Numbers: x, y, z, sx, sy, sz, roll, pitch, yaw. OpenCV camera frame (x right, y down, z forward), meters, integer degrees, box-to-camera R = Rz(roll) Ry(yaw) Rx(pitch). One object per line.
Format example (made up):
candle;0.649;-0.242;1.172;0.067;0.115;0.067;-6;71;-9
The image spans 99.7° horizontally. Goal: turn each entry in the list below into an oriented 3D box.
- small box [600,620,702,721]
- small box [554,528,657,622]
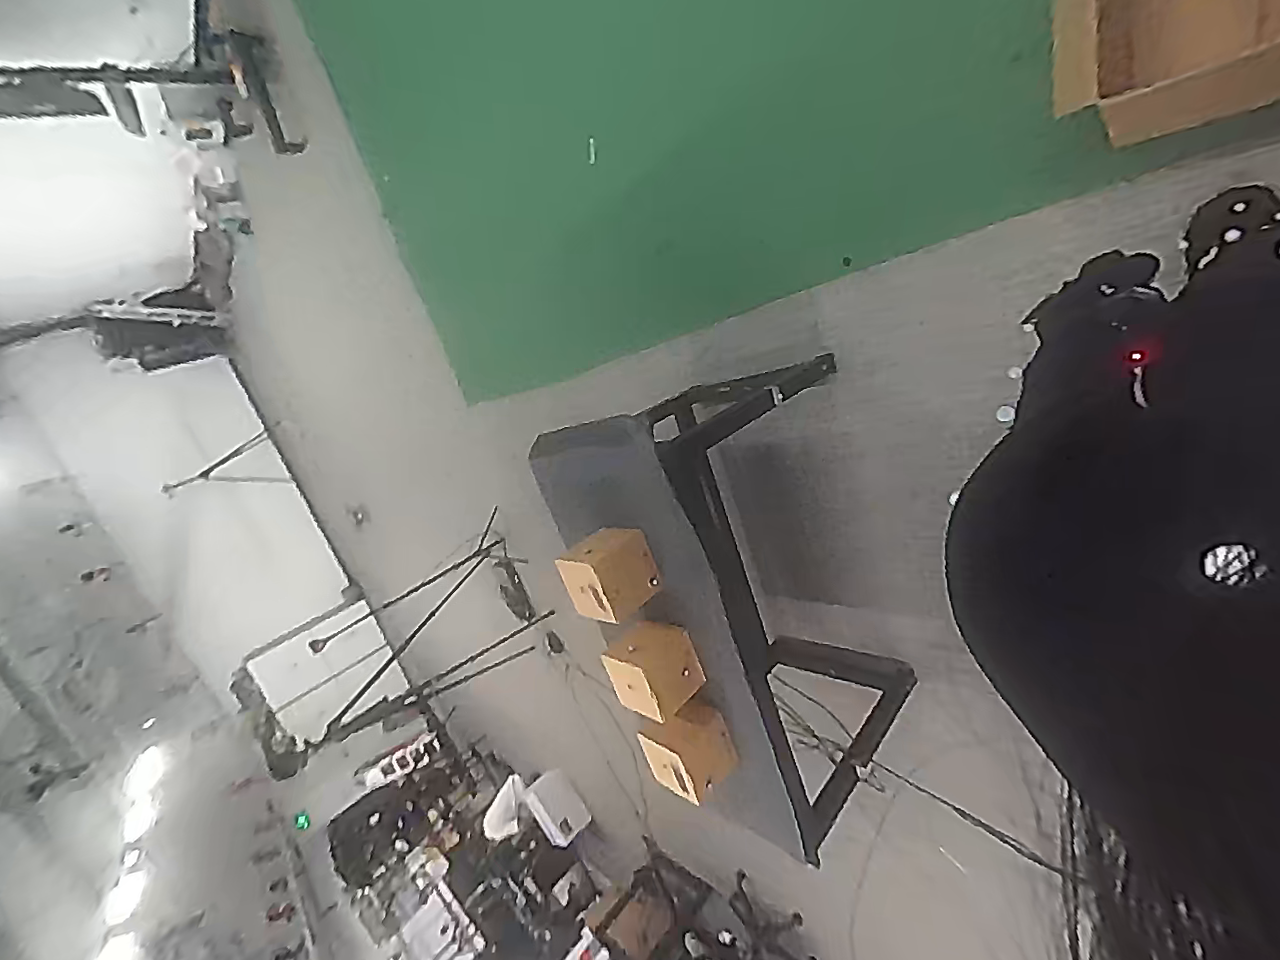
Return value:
small box;0.031;0.486;1.408;0.179;0.176;0.168;-5;109;50
small box;-0.078;0.230;1.356;0.179;0.176;0.168;-5;110;51
